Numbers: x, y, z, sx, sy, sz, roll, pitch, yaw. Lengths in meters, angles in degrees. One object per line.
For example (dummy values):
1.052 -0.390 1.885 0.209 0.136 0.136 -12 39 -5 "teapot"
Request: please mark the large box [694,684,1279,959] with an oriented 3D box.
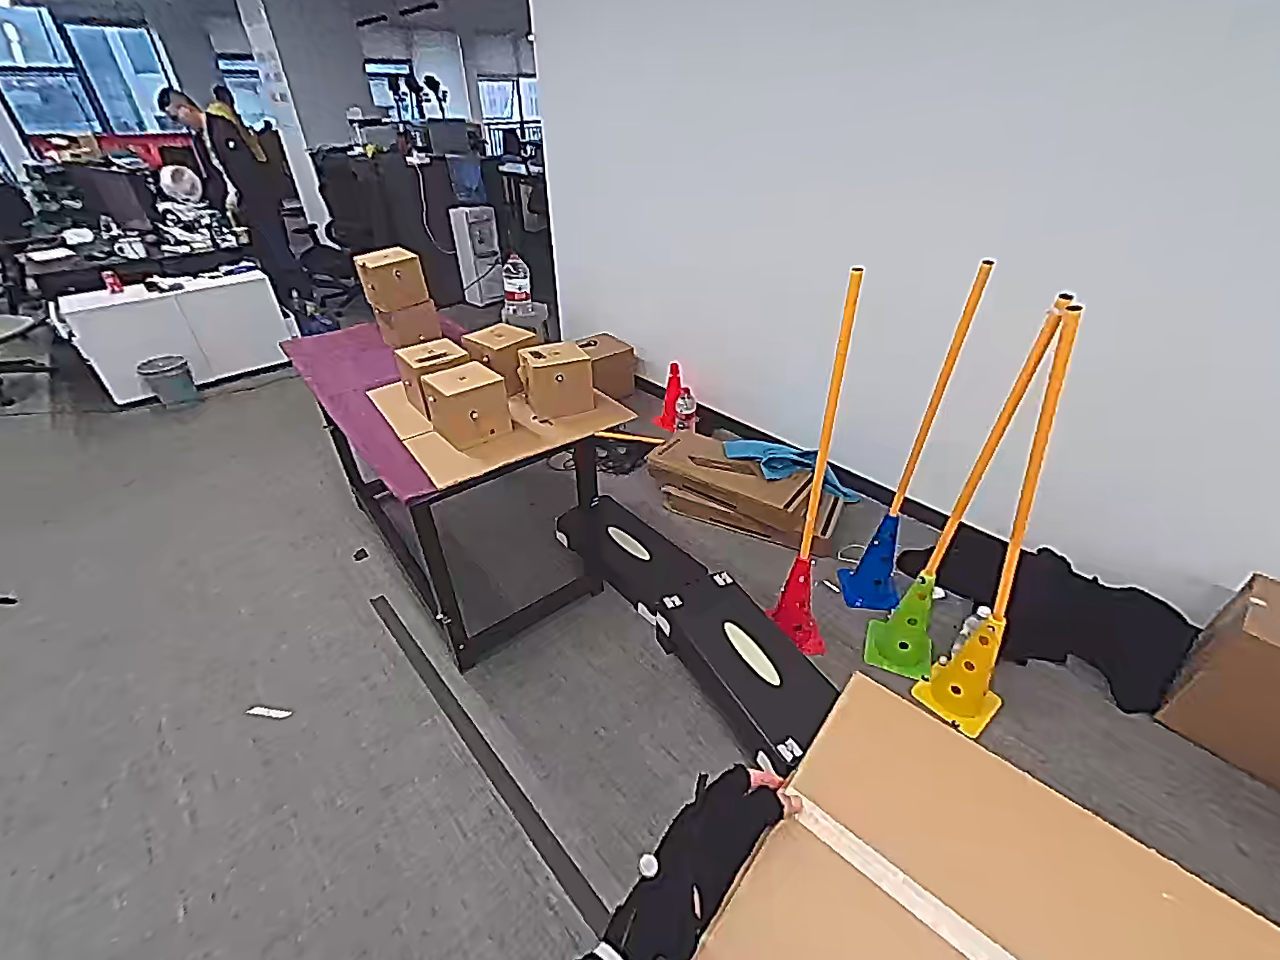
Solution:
0.283 0.483 0.494 0.408 0.320 0.320 29 51 29 "large box"
